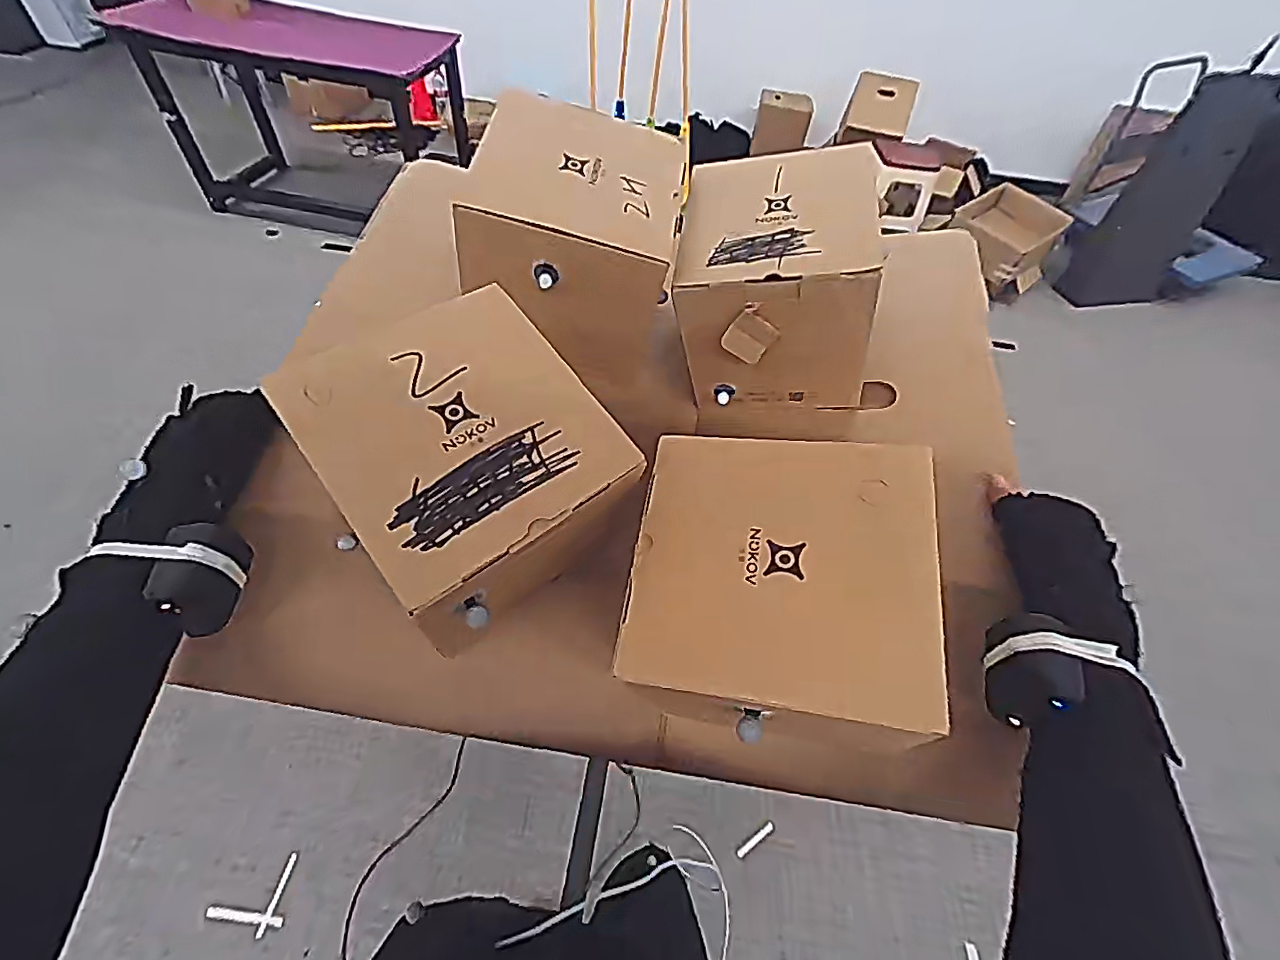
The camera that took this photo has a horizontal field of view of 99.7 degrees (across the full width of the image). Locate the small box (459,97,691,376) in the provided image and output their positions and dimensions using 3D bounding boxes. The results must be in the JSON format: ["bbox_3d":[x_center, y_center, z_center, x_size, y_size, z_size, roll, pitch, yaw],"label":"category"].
[{"bbox_3d":[-0.063,-0.227,0.538,0.179,0.176,0.168,13,63,-7],"label":"small box"}]
